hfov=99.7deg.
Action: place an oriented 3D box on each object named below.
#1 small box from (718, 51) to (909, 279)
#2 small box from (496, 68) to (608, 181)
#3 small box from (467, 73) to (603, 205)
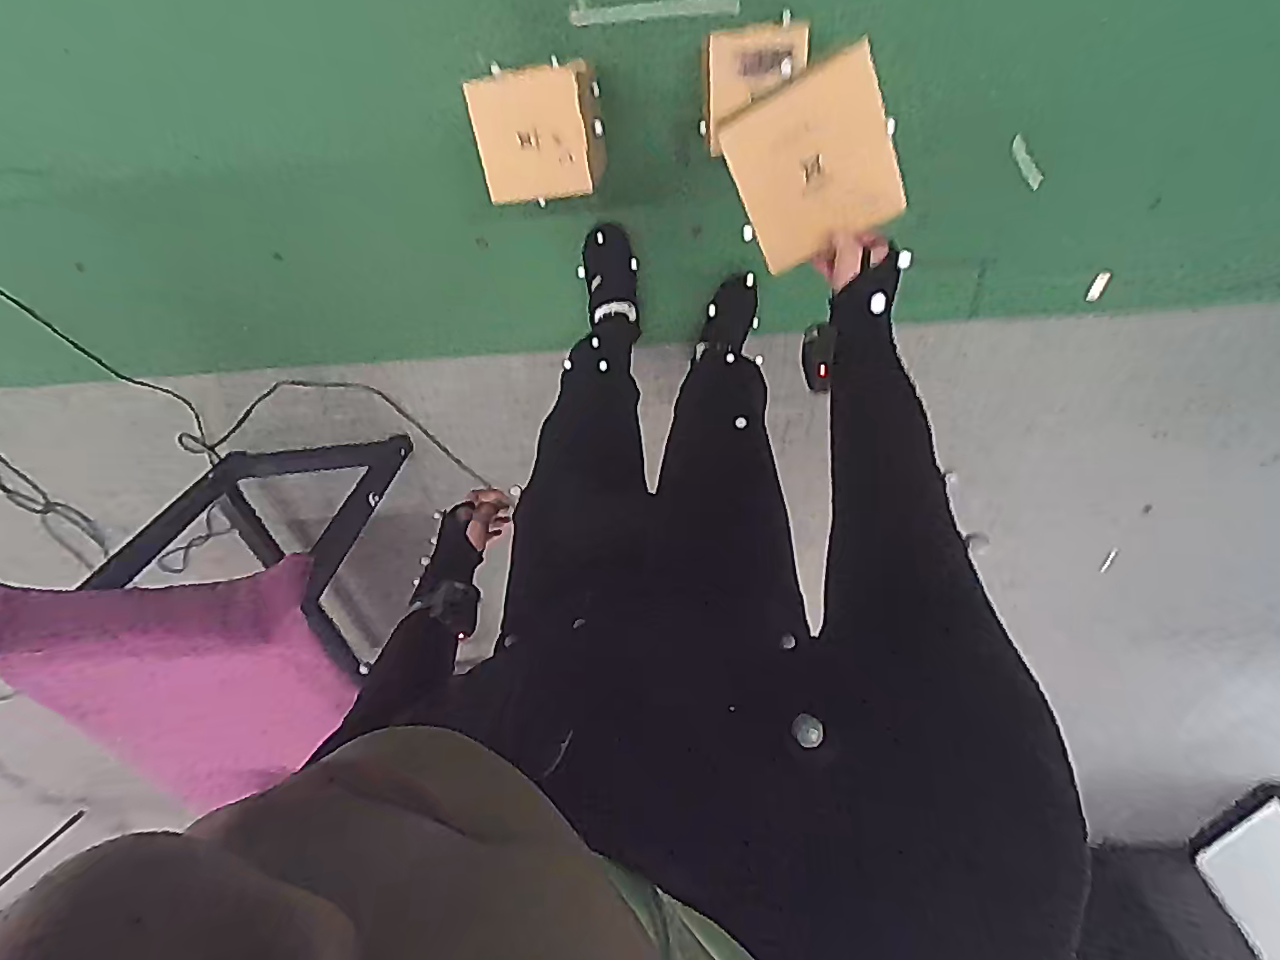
[{"bbox_3d":[0.205,-0.385,0.663,0.168,0.176,0.179,-21,122,21],"label":"small box"},{"bbox_3d":[-0.159,-0.679,1.045,0.168,0.176,0.179,-4,126,5],"label":"small box"},{"bbox_3d":[-0.166,-0.577,0.916,0.179,0.176,0.168,-4,126,5],"label":"small box"}]
